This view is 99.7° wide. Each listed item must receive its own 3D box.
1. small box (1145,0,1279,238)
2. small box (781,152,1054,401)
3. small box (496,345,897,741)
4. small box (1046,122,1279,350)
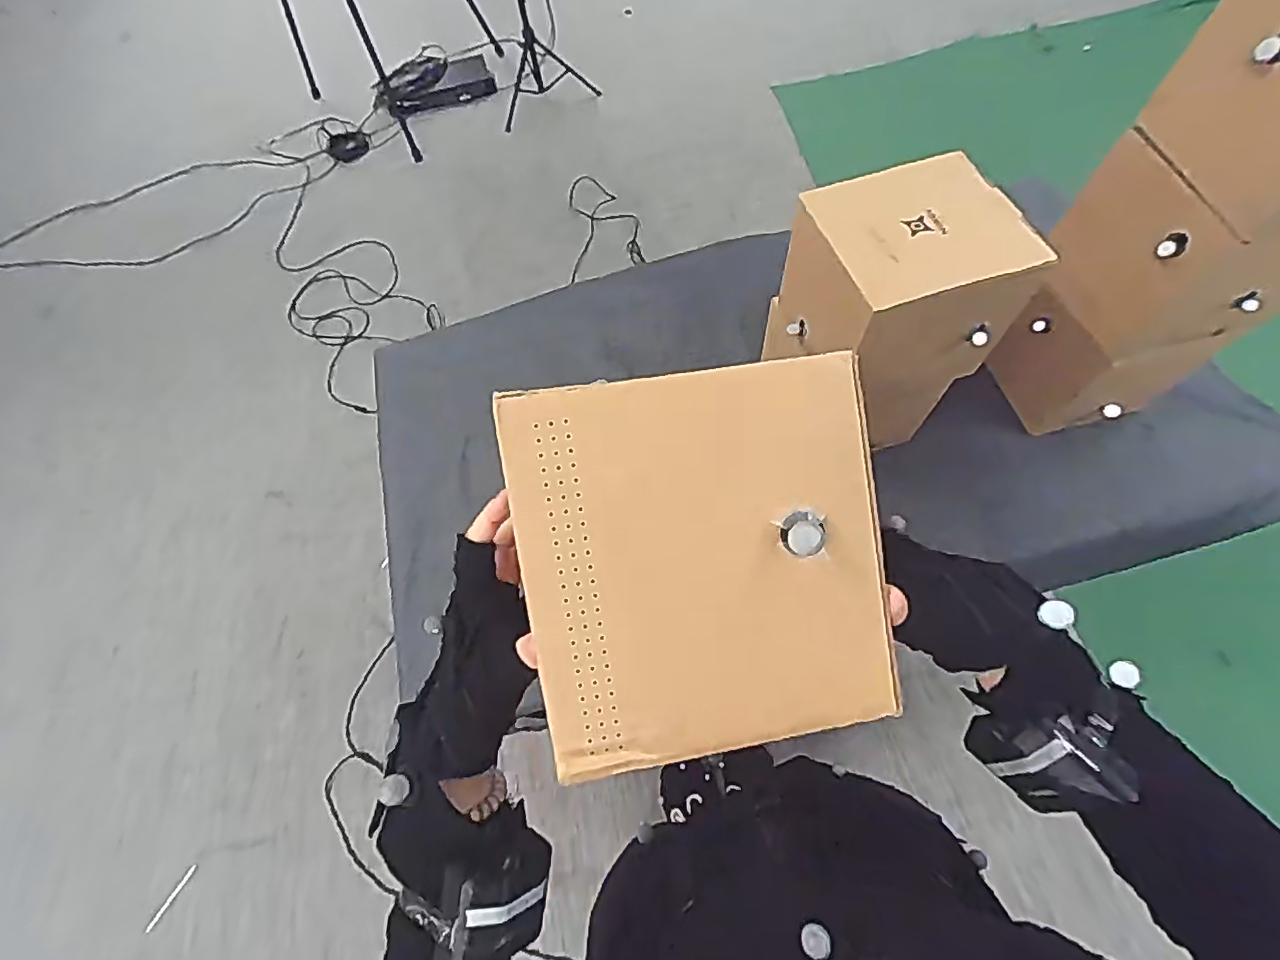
[{"bbox_3d":[0.571,-0.326,0.423,0.168,0.176,0.179,-11,64,1],"label":"small box"},{"bbox_3d":[0.270,-0.204,0.579,0.179,0.176,0.168,-16,64,-2],"label":"small box"},{"bbox_3d":[0.022,0.031,0.325,0.176,0.168,0.179,-10,95,-5],"label":"small box"},{"bbox_3d":[0.587,-0.258,0.572,0.168,0.176,0.179,-12,64,0],"label":"small box"}]
